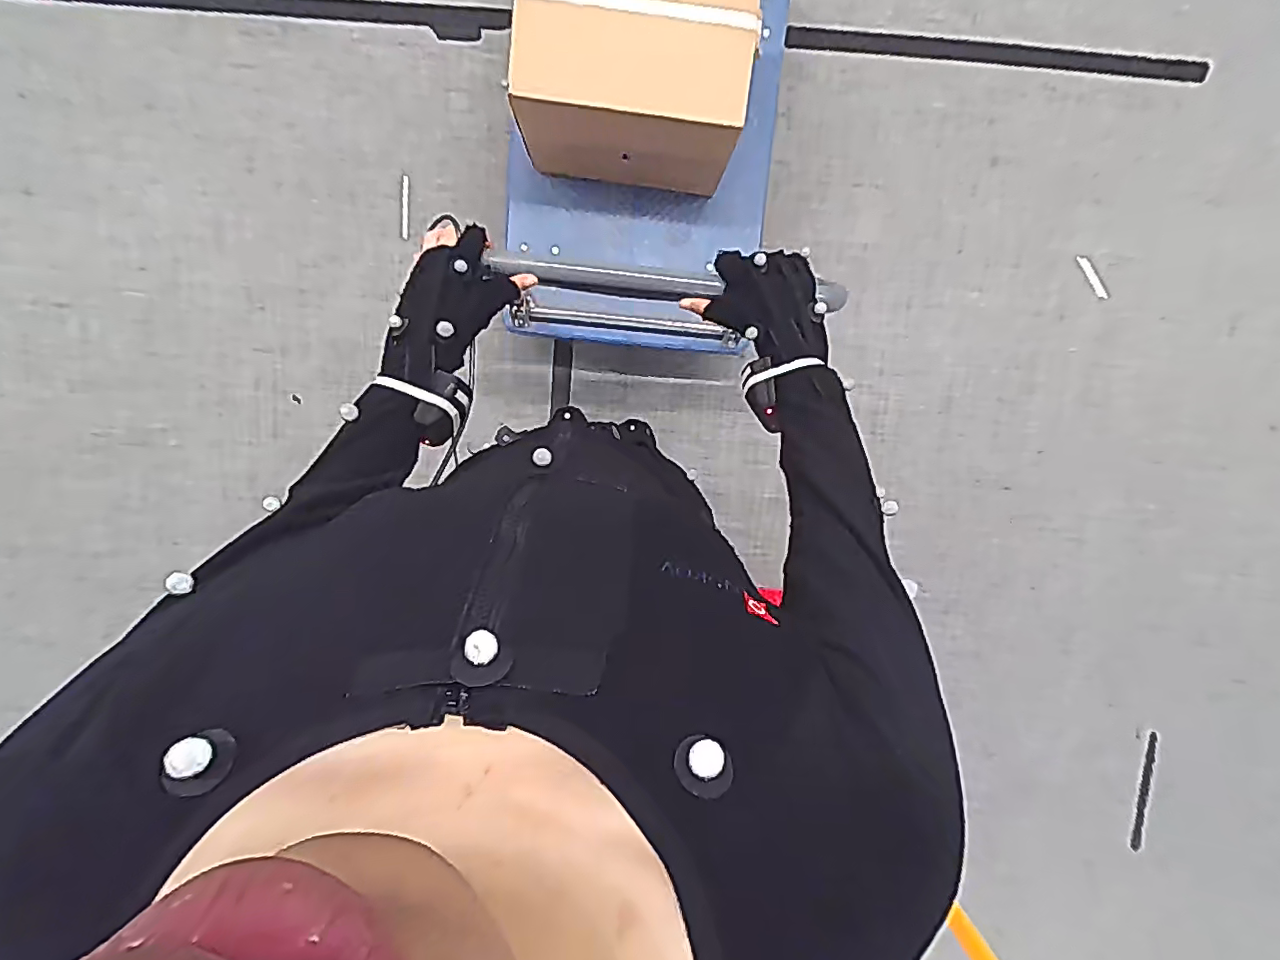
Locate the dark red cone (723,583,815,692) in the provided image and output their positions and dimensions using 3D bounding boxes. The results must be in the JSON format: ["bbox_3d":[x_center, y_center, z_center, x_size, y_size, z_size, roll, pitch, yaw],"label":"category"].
[{"bbox_3d":[0.342,0.411,1.344,0.201,0.394,0.202,3,98,-4],"label":"dark red cone"}]

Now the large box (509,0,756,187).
[{"bbox_3d":[-0.011,-0.798,1.039,0.408,0.320,0.320,6,98,-2],"label":"large box"}]

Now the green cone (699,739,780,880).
[{"bbox_3d":[0.290,0.887,1.425,0.202,0.368,0.200,7,97,-4],"label":"green cone"}]
